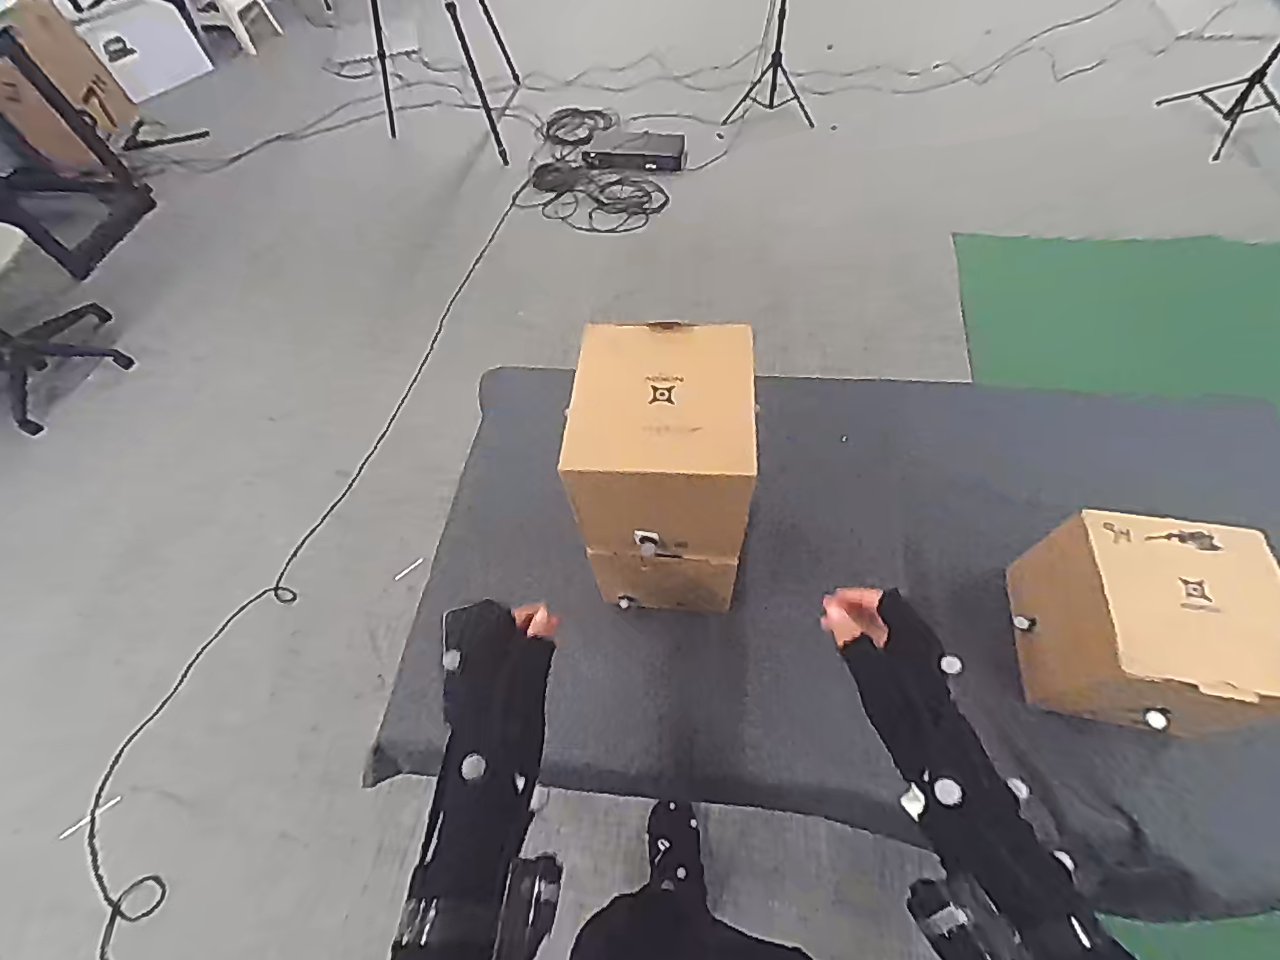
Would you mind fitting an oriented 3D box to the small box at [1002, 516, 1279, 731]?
[{"bbox_3d":[0.536,0.163,0.596,0.168,0.176,0.179,8,59,9],"label":"small box"}]

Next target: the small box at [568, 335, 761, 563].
[{"bbox_3d":[0.030,-0.029,0.562,0.168,0.176,0.179,1,58,5],"label":"small box"}]

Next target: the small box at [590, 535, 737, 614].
[{"bbox_3d":[0.039,0.061,0.697,0.168,0.176,0.179,3,57,6],"label":"small box"}]
